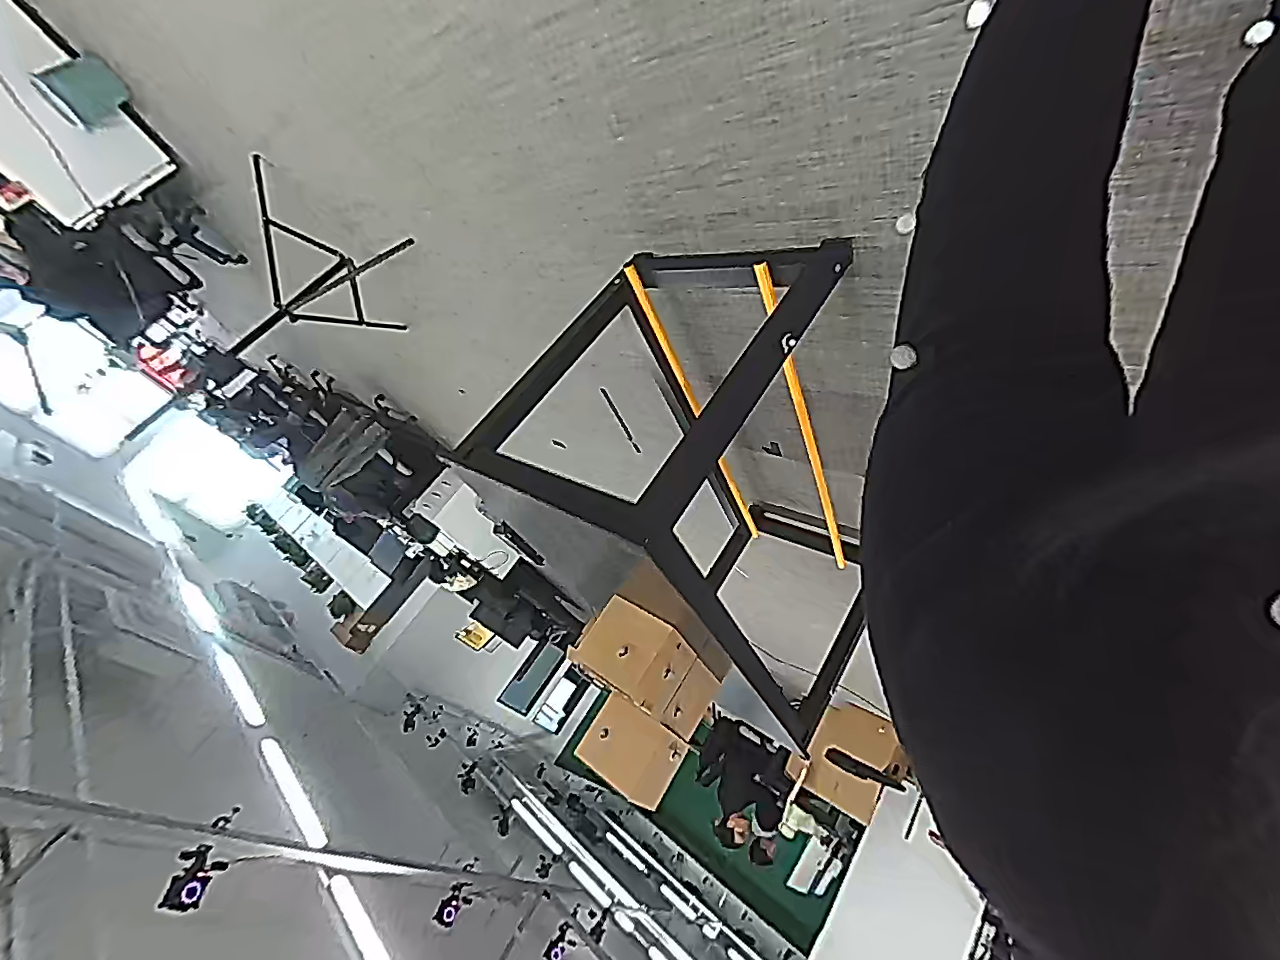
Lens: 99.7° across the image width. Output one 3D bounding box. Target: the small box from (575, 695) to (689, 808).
[{"bbox_3d":[-0.014,0.631,1.277,0.179,0.176,0.168,19,155,37],"label":"small box"}]
